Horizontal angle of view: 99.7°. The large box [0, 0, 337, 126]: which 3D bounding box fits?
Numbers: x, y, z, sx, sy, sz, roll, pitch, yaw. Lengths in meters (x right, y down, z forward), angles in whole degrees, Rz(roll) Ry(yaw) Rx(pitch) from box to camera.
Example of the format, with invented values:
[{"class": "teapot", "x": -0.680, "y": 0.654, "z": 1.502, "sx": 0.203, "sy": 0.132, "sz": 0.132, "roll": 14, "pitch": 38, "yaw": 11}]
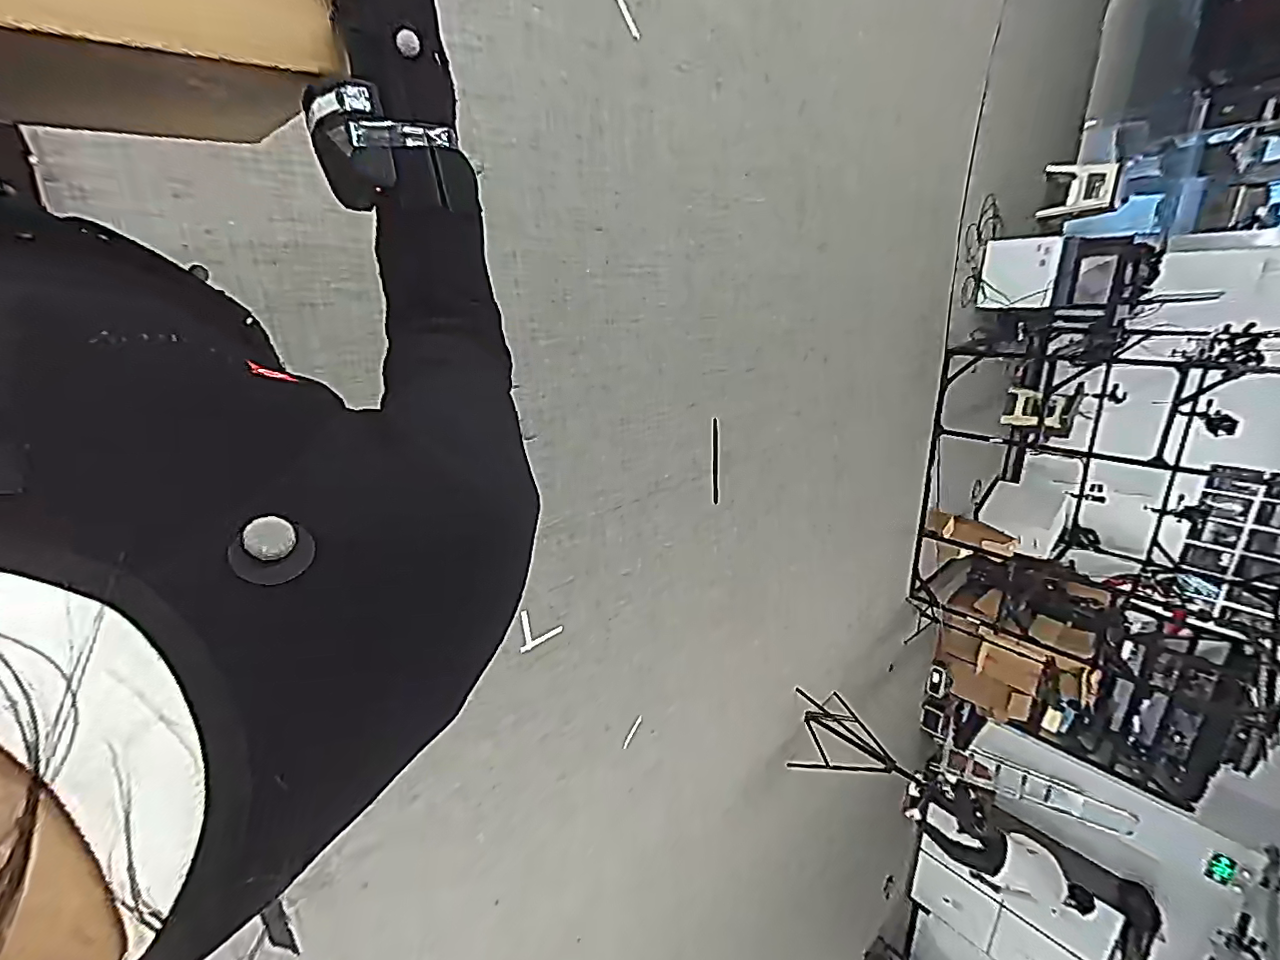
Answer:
[{"class": "large box", "x": -0.441, "y": -0.387, "z": 0.259, "sx": 0.408, "sy": 0.320, "sz": 0.320, "roll": -22, "pitch": 123, "yaw": -38}]
